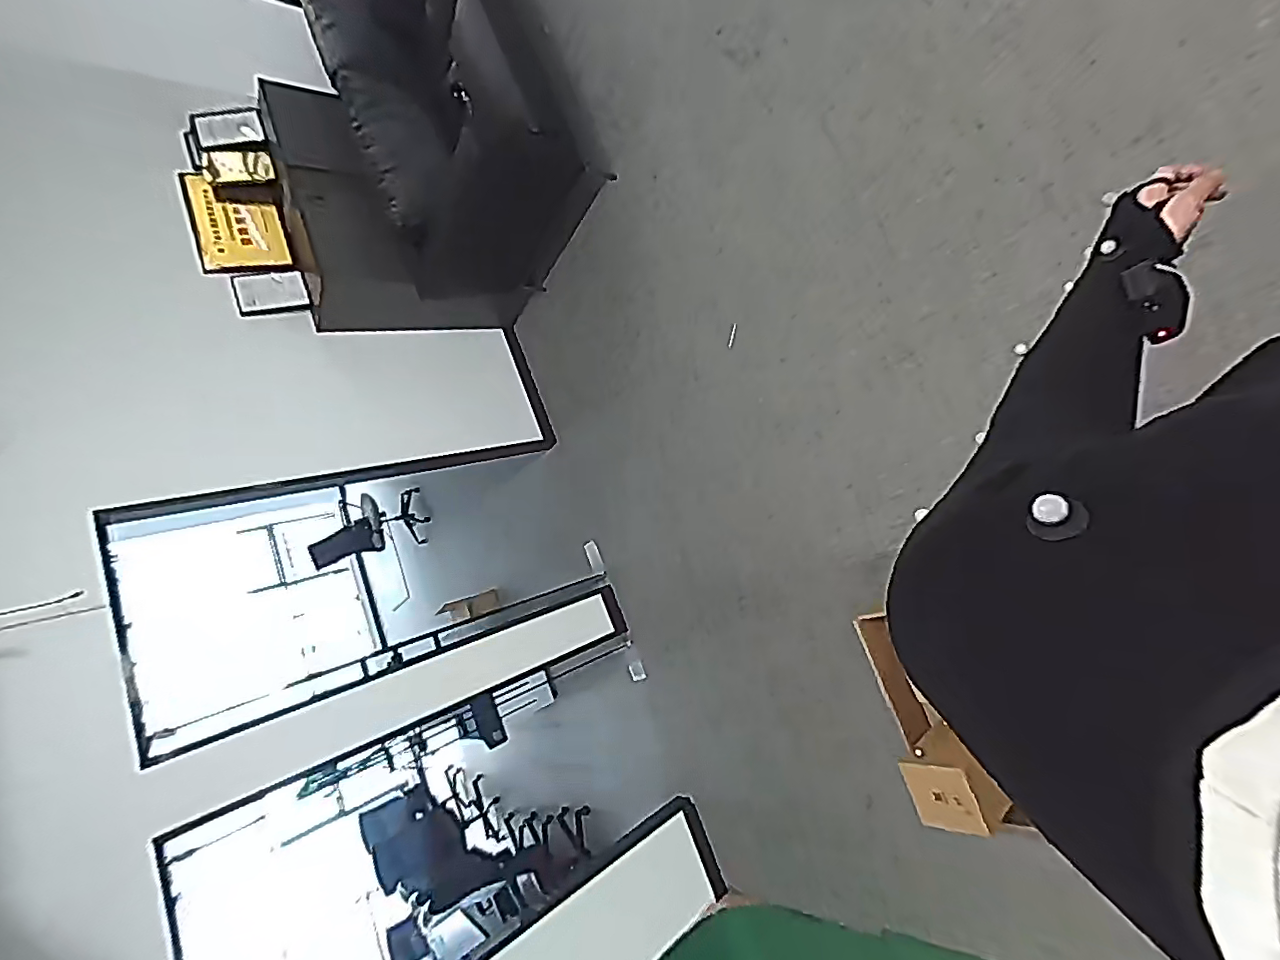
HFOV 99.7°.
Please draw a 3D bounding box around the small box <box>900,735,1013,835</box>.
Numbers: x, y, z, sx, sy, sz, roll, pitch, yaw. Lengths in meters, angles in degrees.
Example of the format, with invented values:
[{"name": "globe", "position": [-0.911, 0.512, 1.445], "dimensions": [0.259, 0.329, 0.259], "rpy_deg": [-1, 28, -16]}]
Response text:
[{"name": "small box", "position": [0.831, 0.789, 1.421], "dimensions": [0.179, 0.176, 0.168], "rpy_deg": [-30, 76, 51]}]
